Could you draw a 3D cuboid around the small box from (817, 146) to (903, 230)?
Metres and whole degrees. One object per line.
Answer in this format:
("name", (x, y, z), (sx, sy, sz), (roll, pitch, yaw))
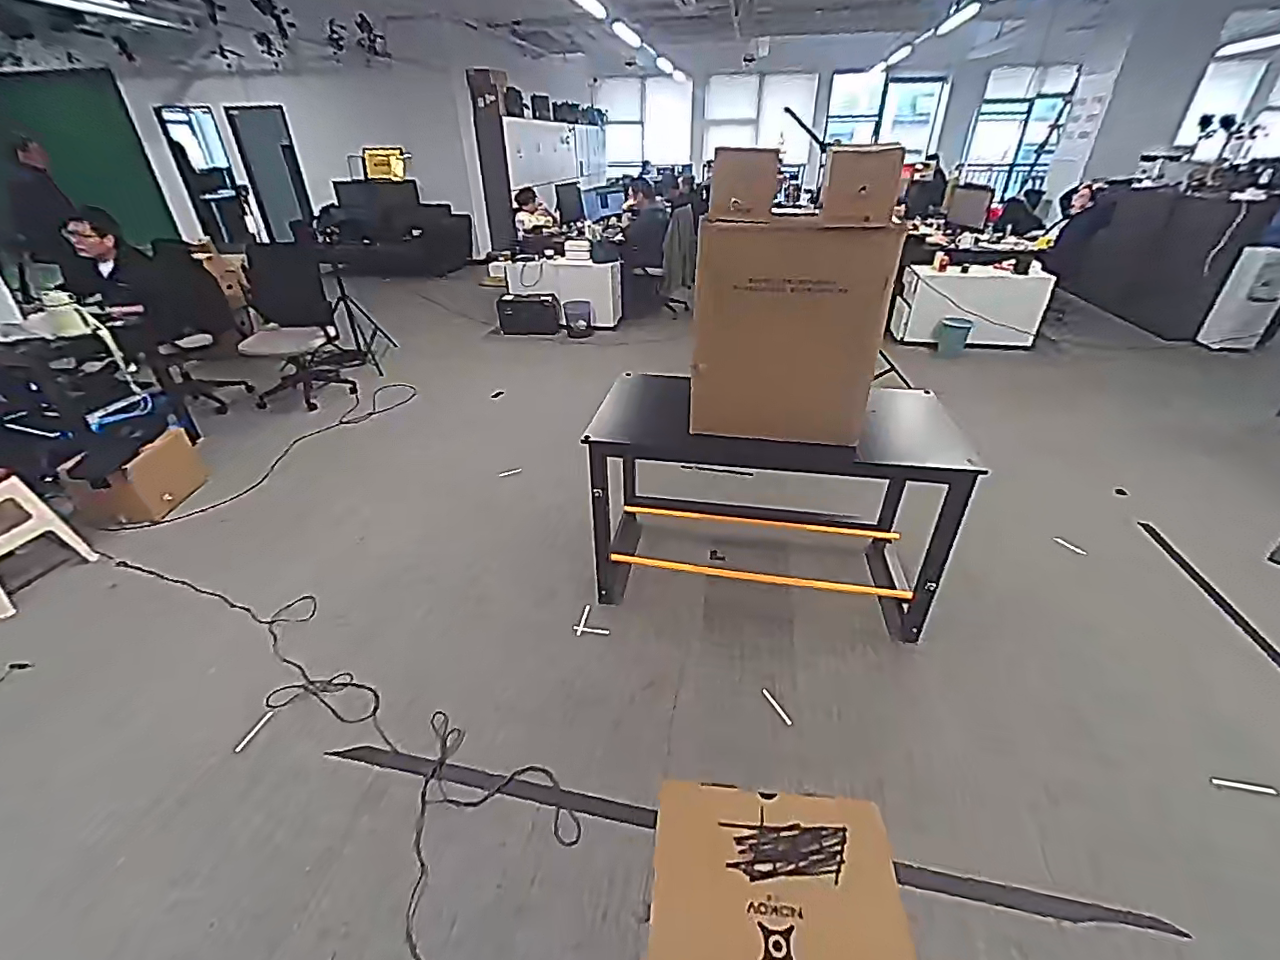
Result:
("small box", (0.545, -0.733, 1.361), (0.168, 0.176, 0.179), (5, 35, 10))

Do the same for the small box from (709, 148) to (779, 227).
("small box", (0.277, -0.787, 1.449), (0.168, 0.176, 0.179), (6, 34, 9))

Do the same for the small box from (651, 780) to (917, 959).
("small box", (0.091, 0.355, 0.391), (0.168, 0.176, 0.179), (3, 35, 6))
